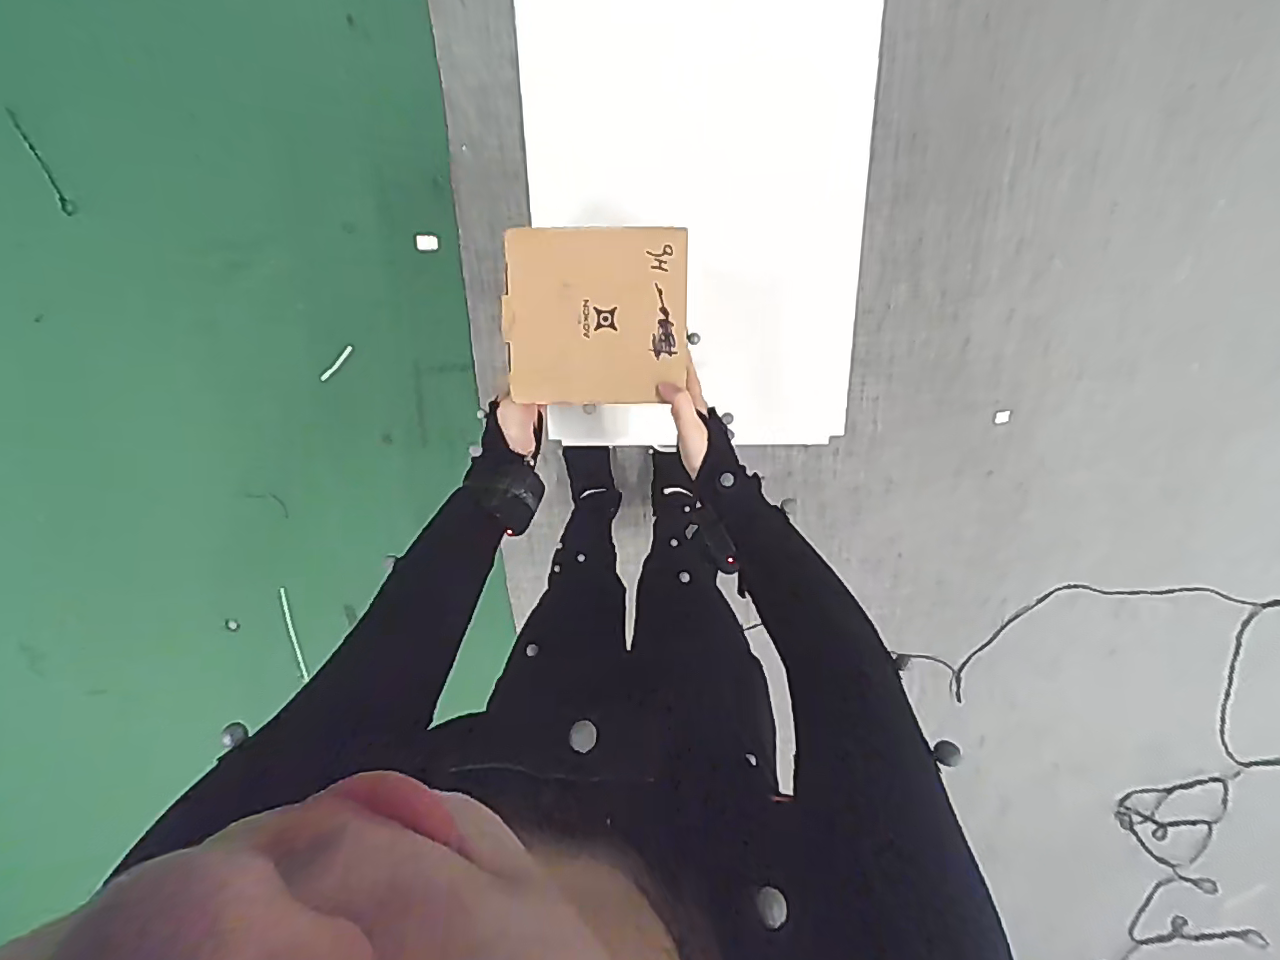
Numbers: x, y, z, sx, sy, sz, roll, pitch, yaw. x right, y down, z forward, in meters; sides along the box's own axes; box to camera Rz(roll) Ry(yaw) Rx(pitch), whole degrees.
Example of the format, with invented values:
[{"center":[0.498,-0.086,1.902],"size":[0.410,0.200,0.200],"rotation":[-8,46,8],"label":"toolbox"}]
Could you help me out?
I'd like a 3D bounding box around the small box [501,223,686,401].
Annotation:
[{"center":[-0.041,-0.173,0.595],"size":[0.179,0.176,0.168],"rotation":[1,101,2],"label":"small box"}]
